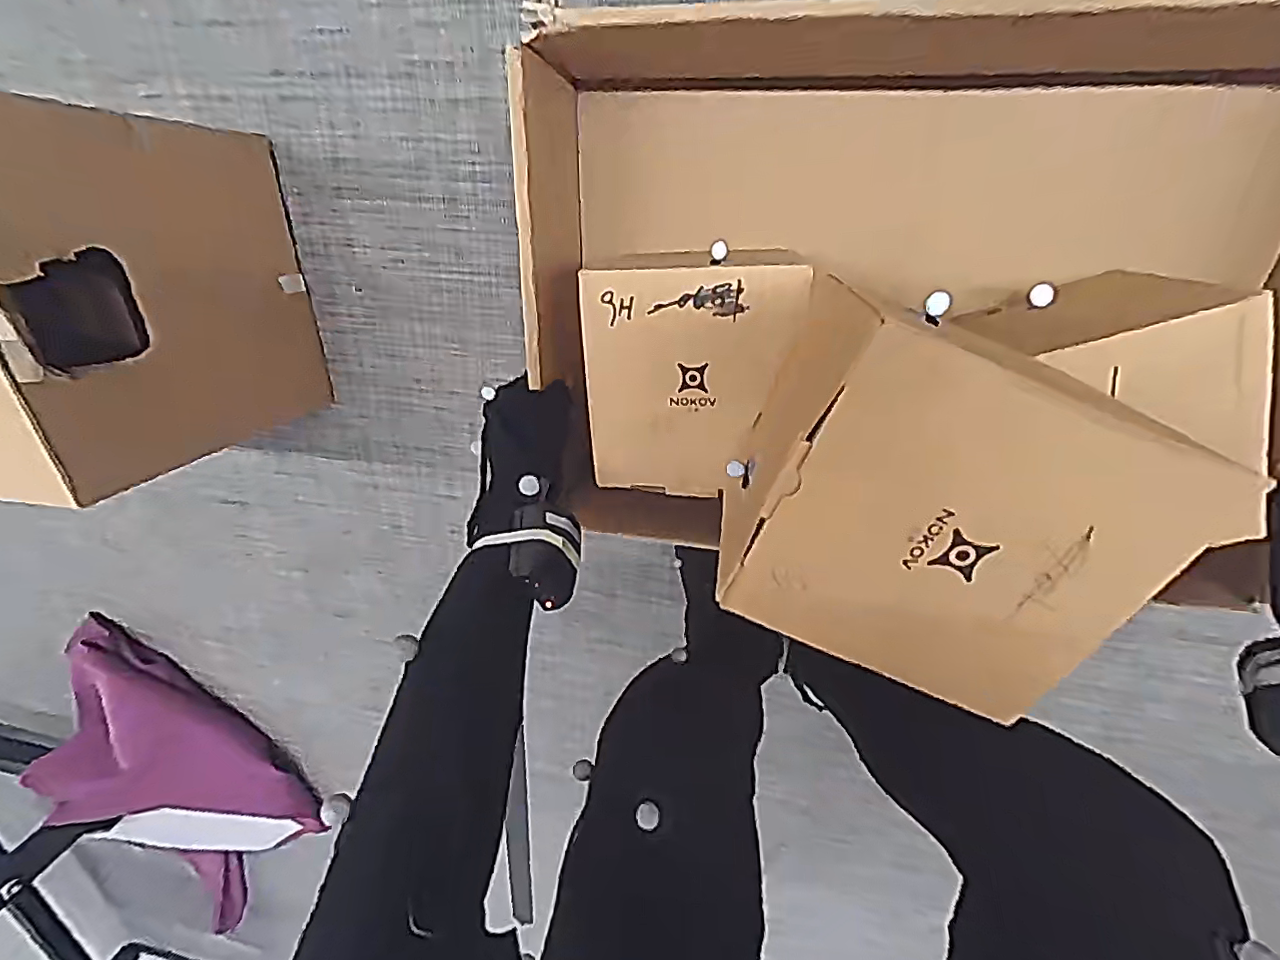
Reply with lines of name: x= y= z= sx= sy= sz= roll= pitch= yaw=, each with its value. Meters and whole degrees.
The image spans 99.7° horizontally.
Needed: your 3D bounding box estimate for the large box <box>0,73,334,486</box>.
large box: x=-0.630 y=-0.206 z=0.567 sx=0.408 sy=0.320 sz=0.320 roll=4 pitch=117 yaw=10
